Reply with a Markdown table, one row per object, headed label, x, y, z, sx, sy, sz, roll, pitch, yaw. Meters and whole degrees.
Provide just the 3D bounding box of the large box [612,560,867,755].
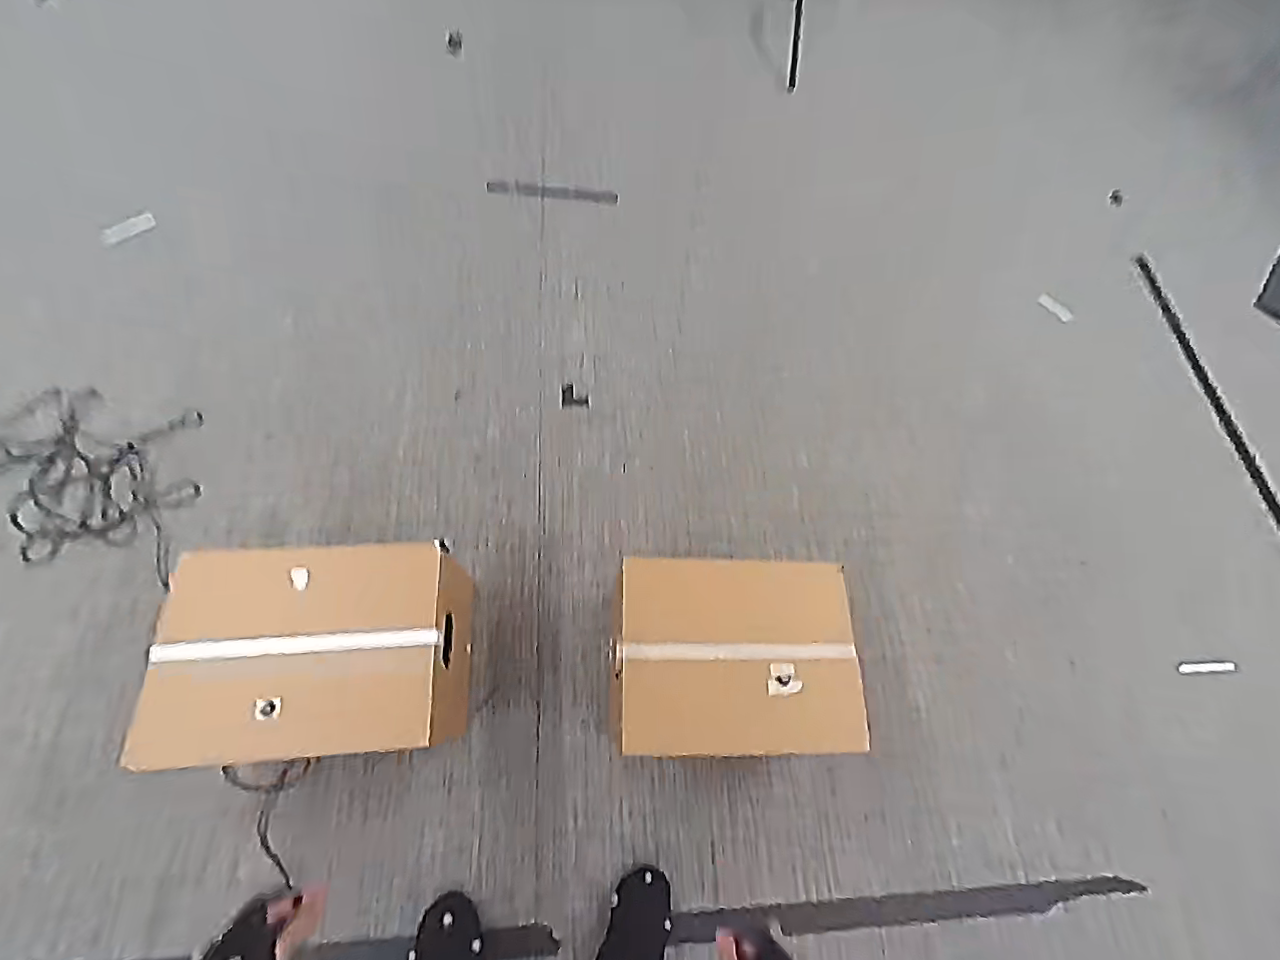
| label | x | y | z | sx | sy | sz | roll | pitch | yaw |
| --- | --- | --- | --- | --- | --- | --- | --- | --- | --- |
| large box | 0.155 | 0.350 | 1.056 | 0.408 | 0.320 | 0.320 | 3 | 67 | -7 |
